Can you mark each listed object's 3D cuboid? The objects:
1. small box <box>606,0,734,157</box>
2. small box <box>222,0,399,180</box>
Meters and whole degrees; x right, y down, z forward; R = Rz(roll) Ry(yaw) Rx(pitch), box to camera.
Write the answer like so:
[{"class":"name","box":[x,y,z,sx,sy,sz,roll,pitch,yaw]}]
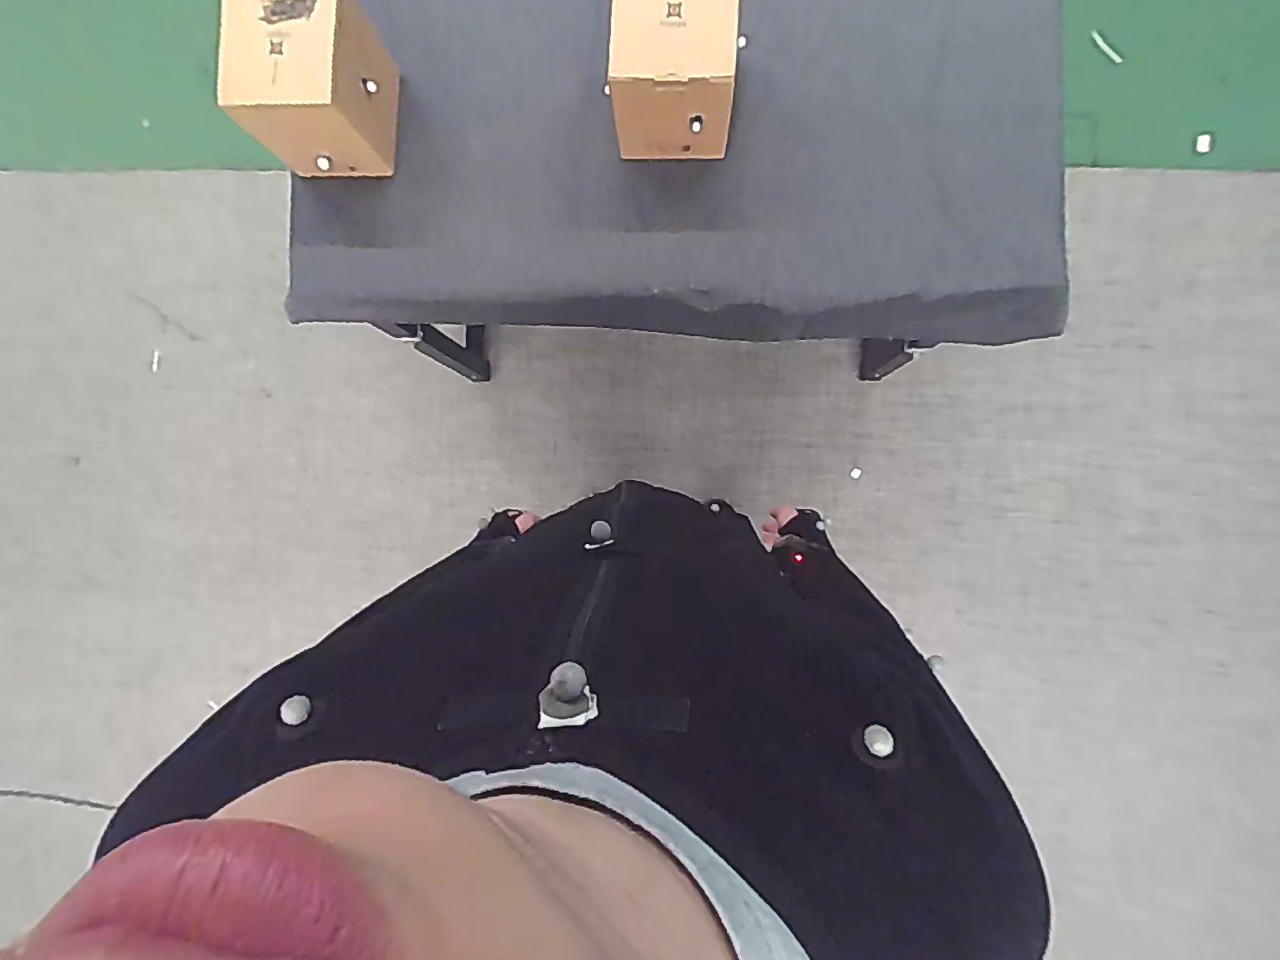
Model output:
[{"class":"small box","box":[0.045,-0.600,0.785,0.168,0.176,0.179,2,88,3]},{"class":"small box","box":[-0.484,-0.588,0.819,0.168,0.176,0.179,2,89,4]}]
